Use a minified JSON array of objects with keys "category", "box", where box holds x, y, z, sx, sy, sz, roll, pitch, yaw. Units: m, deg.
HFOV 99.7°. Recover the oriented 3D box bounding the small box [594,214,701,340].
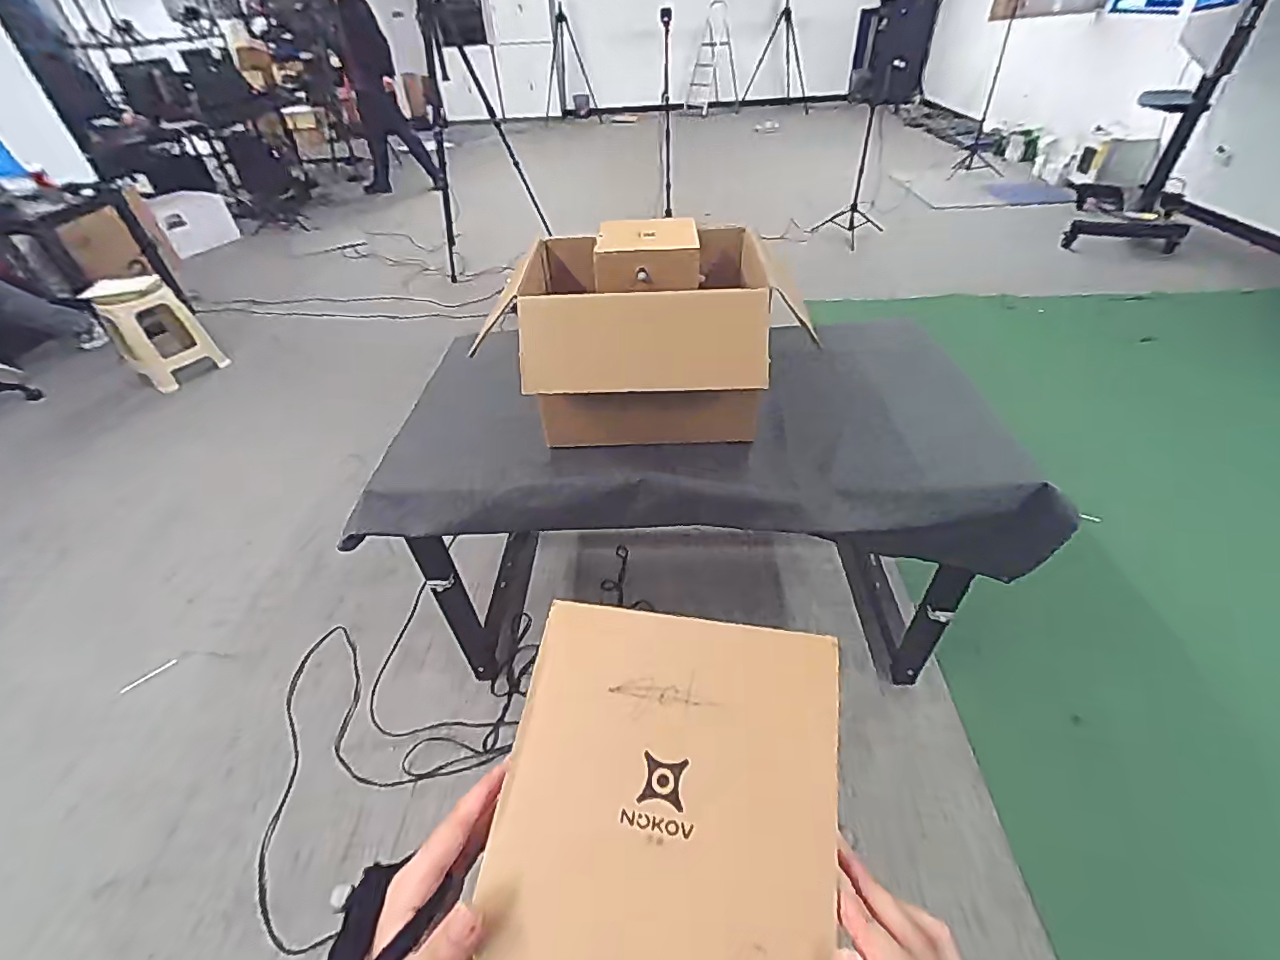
[{"category":"small box","box":[0.015,-0.368,0.984,0.179,0.176,0.168,-1,42,2]}]
